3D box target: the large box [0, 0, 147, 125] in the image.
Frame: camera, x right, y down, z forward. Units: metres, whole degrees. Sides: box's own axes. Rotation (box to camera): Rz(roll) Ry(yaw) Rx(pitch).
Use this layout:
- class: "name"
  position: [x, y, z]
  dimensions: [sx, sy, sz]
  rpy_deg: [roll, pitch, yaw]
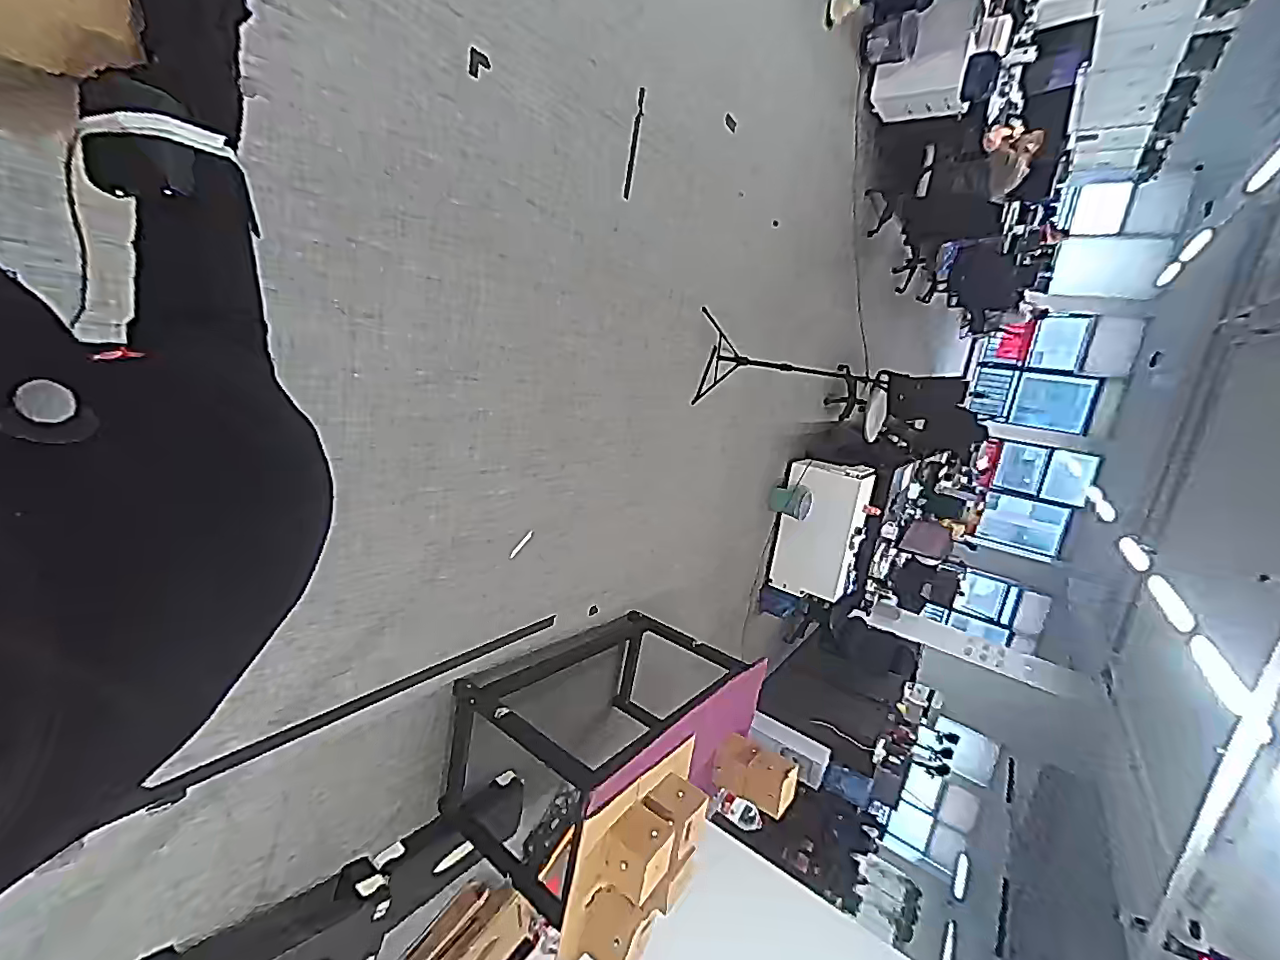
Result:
- class: "large box"
  position: [-0.557, -0.420, 0.252]
  dimensions: [0.408, 0.320, 0.320]
  rpy_deg: [-14, 118, -55]
